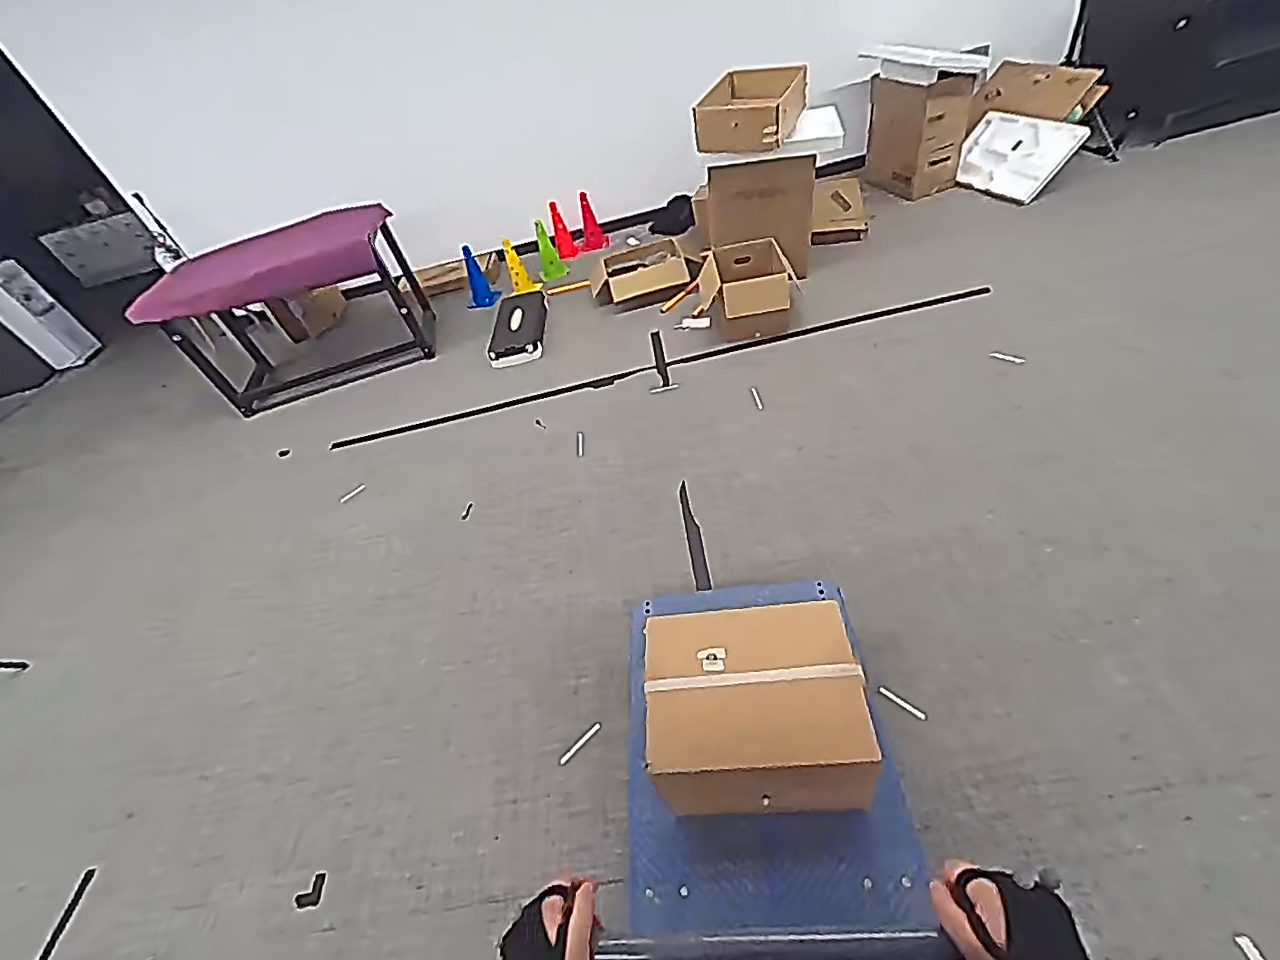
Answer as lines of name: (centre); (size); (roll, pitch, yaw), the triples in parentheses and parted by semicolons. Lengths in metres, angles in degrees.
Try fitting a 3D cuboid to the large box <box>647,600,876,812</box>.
large box: (0.243, 0.492, 1.157); (0.408, 0.320, 0.320); (-9, 44, 9)
